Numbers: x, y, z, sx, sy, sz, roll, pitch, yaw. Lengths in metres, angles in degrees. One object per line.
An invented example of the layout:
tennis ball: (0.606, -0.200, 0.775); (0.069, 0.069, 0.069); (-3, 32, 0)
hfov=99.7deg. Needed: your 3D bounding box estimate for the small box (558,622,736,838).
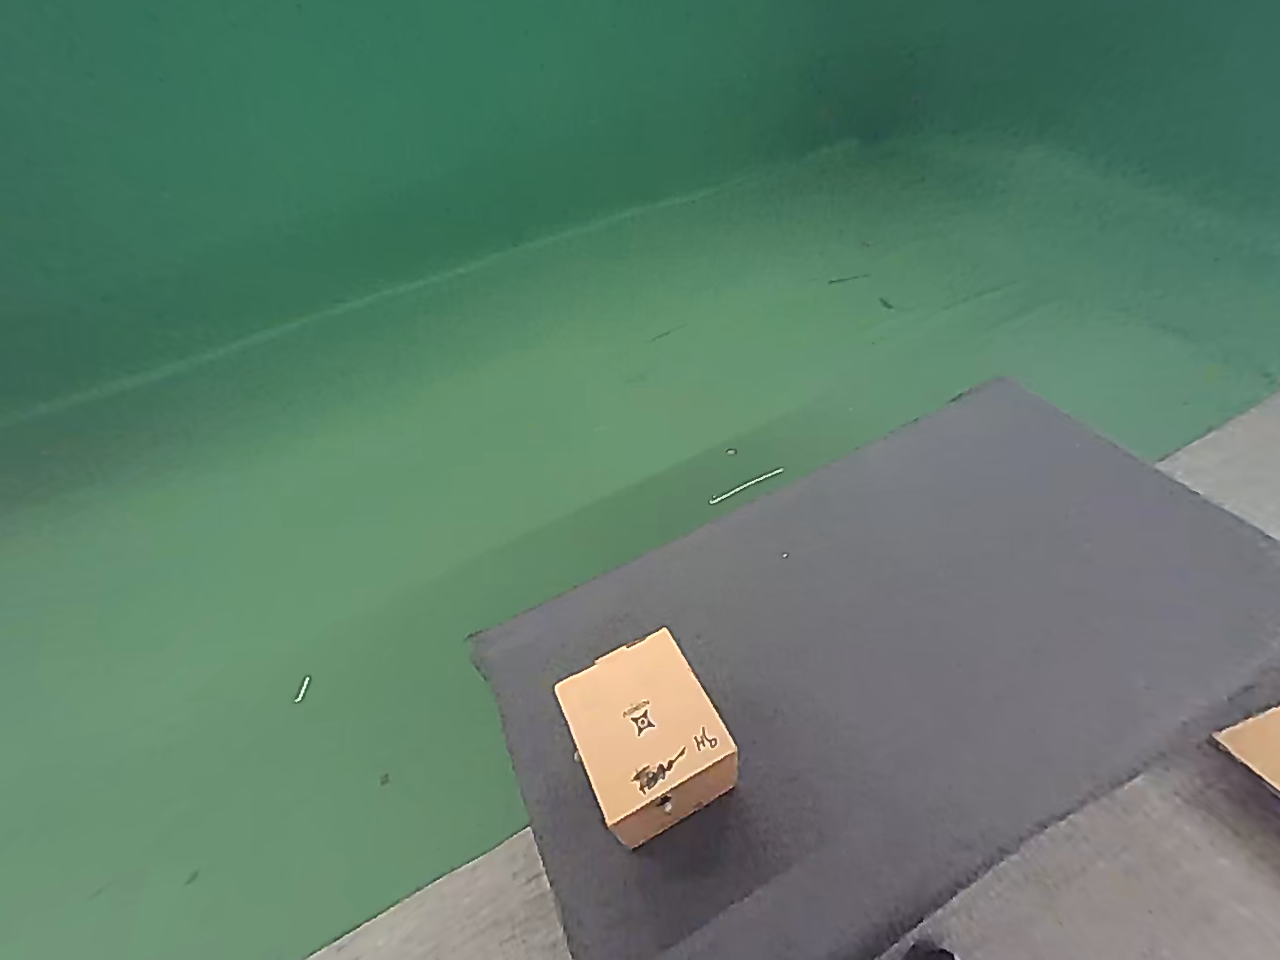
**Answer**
small box: (0.009, 0.328, 0.711); (0.168, 0.176, 0.179); (-24, 48, -13)
